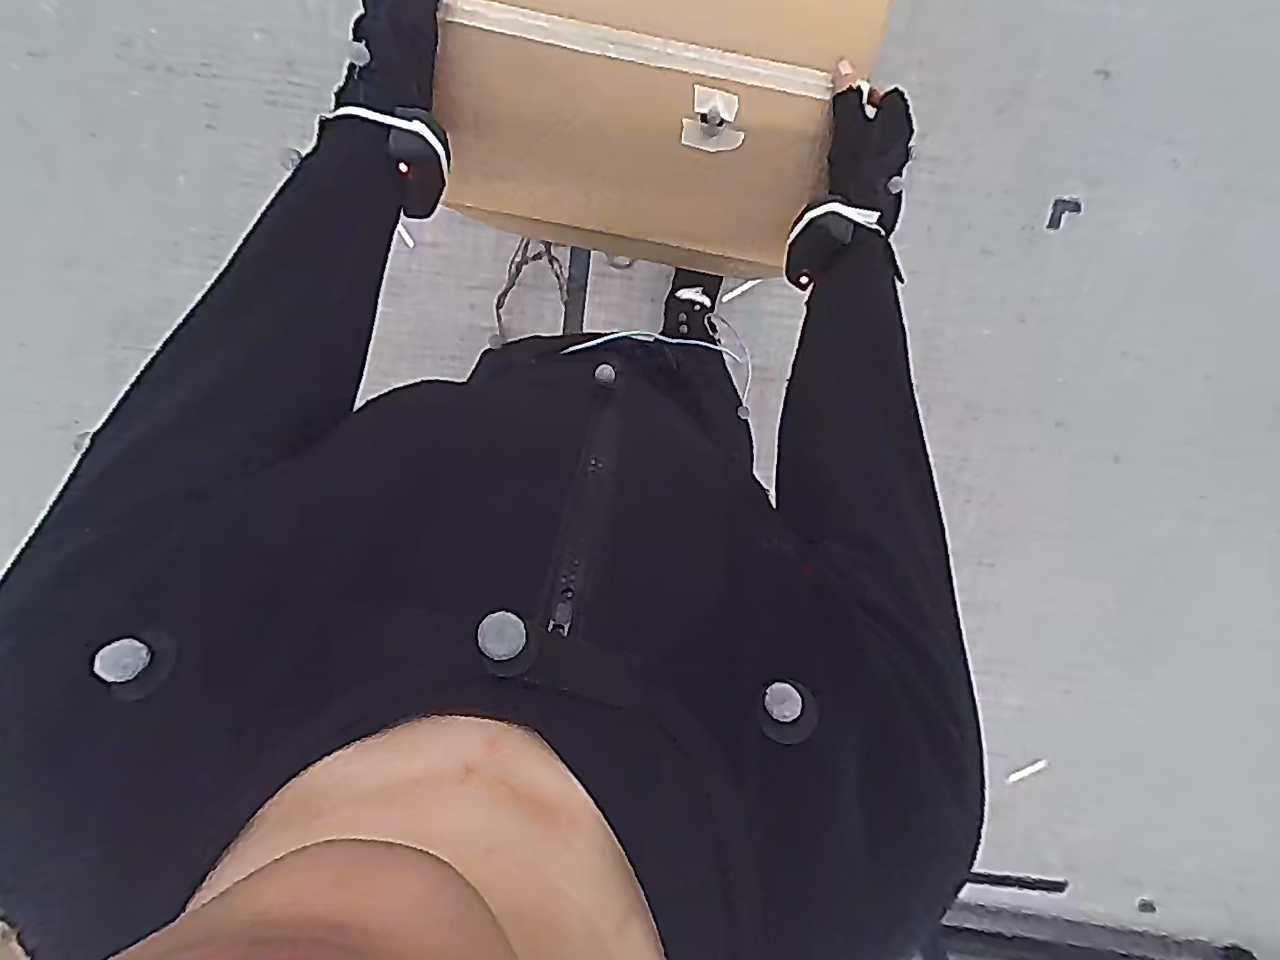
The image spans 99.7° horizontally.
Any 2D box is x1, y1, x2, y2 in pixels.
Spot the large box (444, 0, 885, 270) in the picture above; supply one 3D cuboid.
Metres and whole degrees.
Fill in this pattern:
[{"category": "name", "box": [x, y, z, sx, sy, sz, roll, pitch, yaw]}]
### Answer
[{"category": "large box", "box": [0.014, -0.451, 0.650, 0.408, 0.320, 0.320, 9, 110, -4]}]
